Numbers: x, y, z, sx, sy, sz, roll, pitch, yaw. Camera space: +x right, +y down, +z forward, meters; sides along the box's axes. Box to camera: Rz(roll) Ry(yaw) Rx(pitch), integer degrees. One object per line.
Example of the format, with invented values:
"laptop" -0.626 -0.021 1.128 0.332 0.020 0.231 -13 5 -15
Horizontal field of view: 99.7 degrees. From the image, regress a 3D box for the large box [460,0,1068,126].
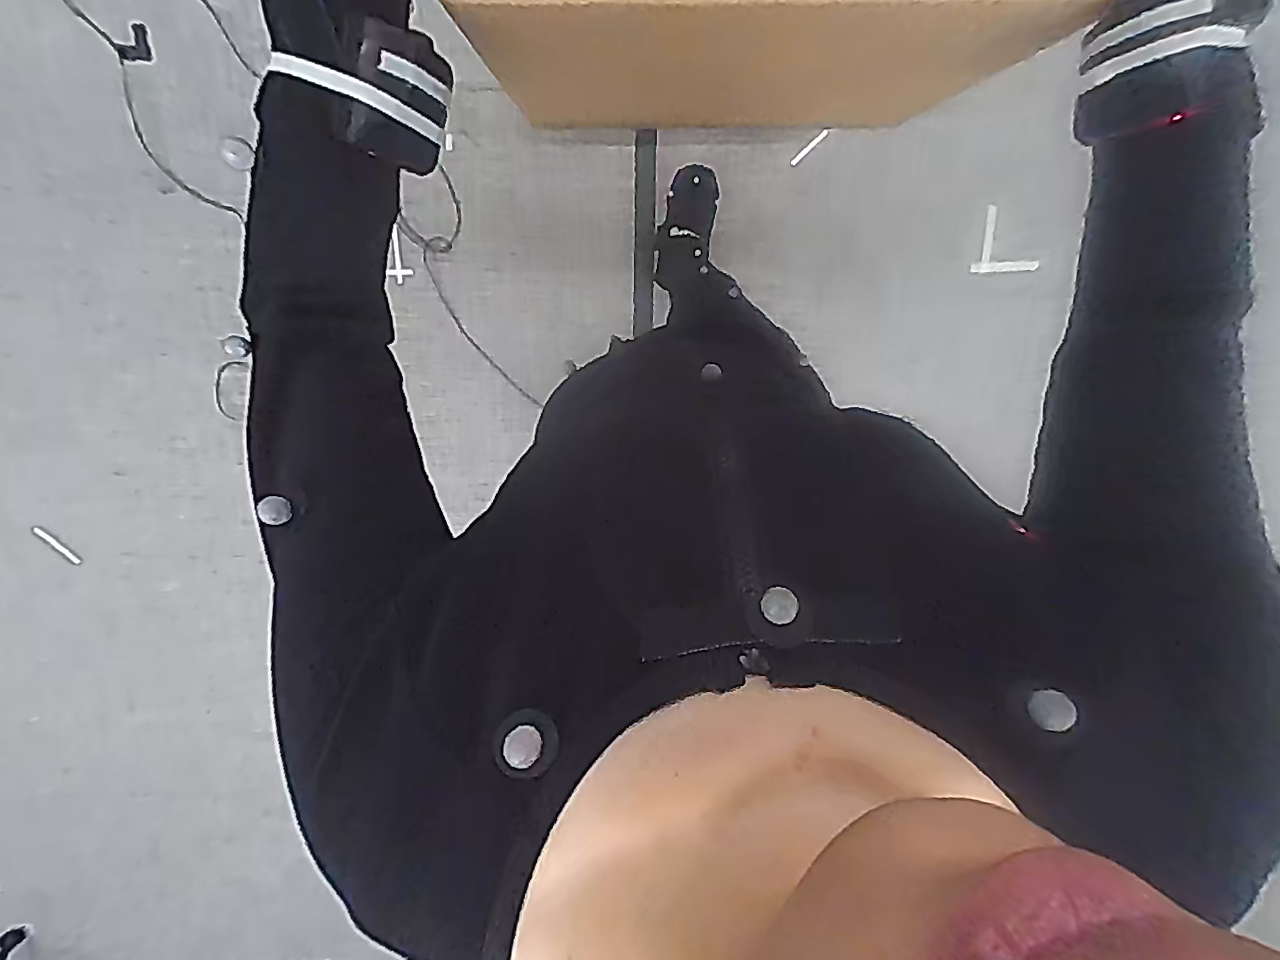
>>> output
"large box" 0.077 -0.482 0.399 0.408 0.320 0.320 -1 112 -1
